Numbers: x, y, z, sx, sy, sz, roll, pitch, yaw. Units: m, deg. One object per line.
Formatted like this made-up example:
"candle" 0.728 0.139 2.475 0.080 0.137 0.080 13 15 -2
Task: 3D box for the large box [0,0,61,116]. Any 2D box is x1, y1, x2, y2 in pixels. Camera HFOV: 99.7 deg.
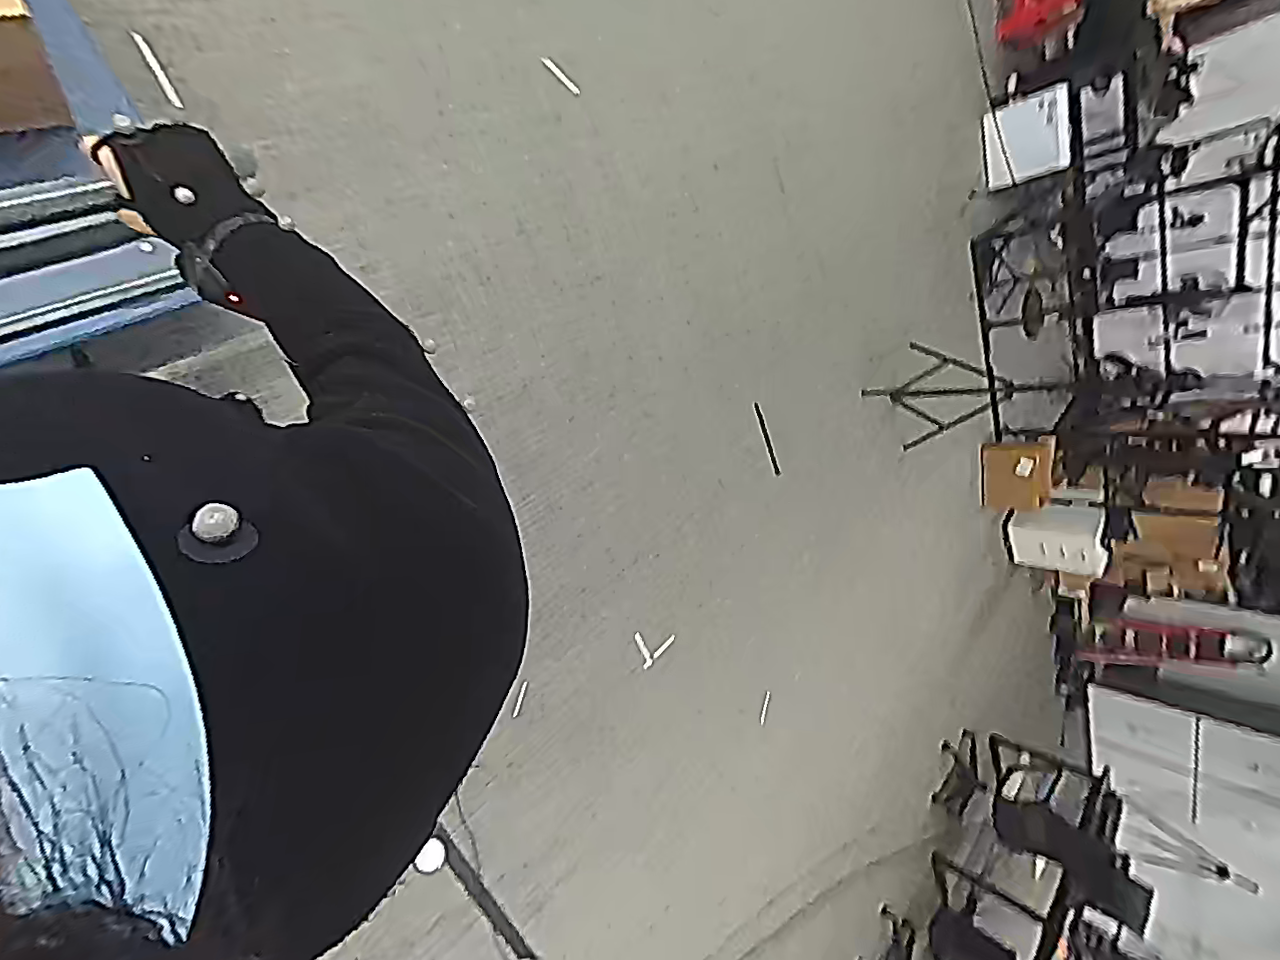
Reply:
"large box" -1.057 -0.638 0.631 0.408 0.320 0.320 -36 115 -31
